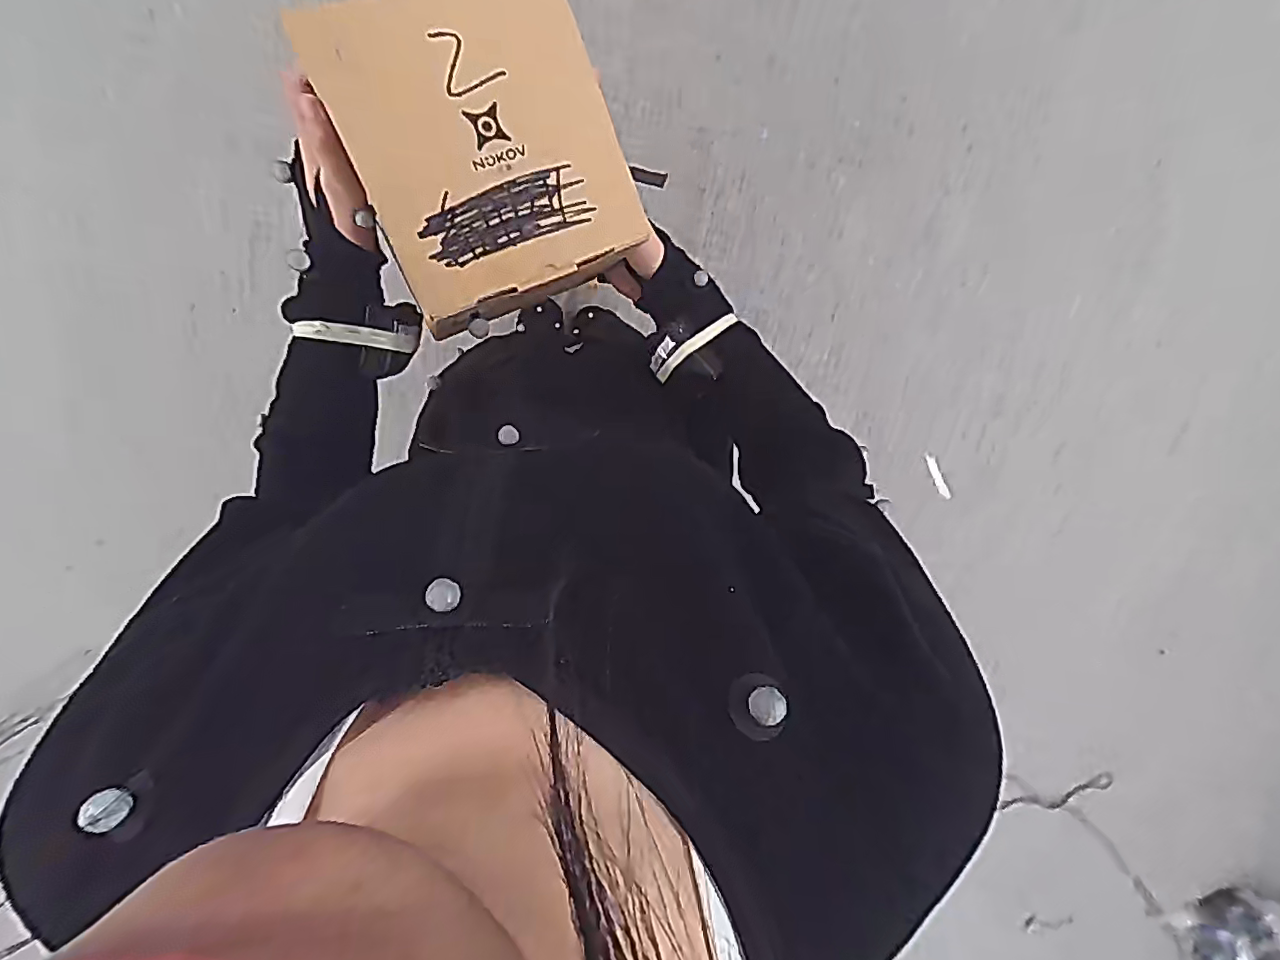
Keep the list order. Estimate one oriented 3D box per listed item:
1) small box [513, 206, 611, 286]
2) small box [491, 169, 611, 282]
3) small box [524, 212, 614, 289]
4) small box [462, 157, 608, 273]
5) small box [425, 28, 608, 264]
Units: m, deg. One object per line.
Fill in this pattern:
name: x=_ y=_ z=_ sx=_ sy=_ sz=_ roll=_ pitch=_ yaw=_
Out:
small box: x=-0.164 y=-0.504 z=1.107 sx=0.179 sy=0.176 sz=0.168 roll=15 pitch=106 yaw=-7
small box: x=-0.147 y=-0.459 z=0.951 sx=0.168 sy=0.176 sz=0.179 roll=14 pitch=106 yaw=-6
small box: x=-0.163 y=-0.552 z=1.265 sx=0.179 sy=0.176 sz=0.168 roll=13 pitch=106 yaw=-6
small box: x=-0.143 y=-0.415 z=0.792 sx=0.168 sy=0.176 sz=0.179 roll=14 pitch=104 yaw=-6
small box: x=-0.134 y=-0.370 z=0.637 sx=0.168 sy=0.176 sz=0.179 roll=12 pitch=106 yaw=-5
